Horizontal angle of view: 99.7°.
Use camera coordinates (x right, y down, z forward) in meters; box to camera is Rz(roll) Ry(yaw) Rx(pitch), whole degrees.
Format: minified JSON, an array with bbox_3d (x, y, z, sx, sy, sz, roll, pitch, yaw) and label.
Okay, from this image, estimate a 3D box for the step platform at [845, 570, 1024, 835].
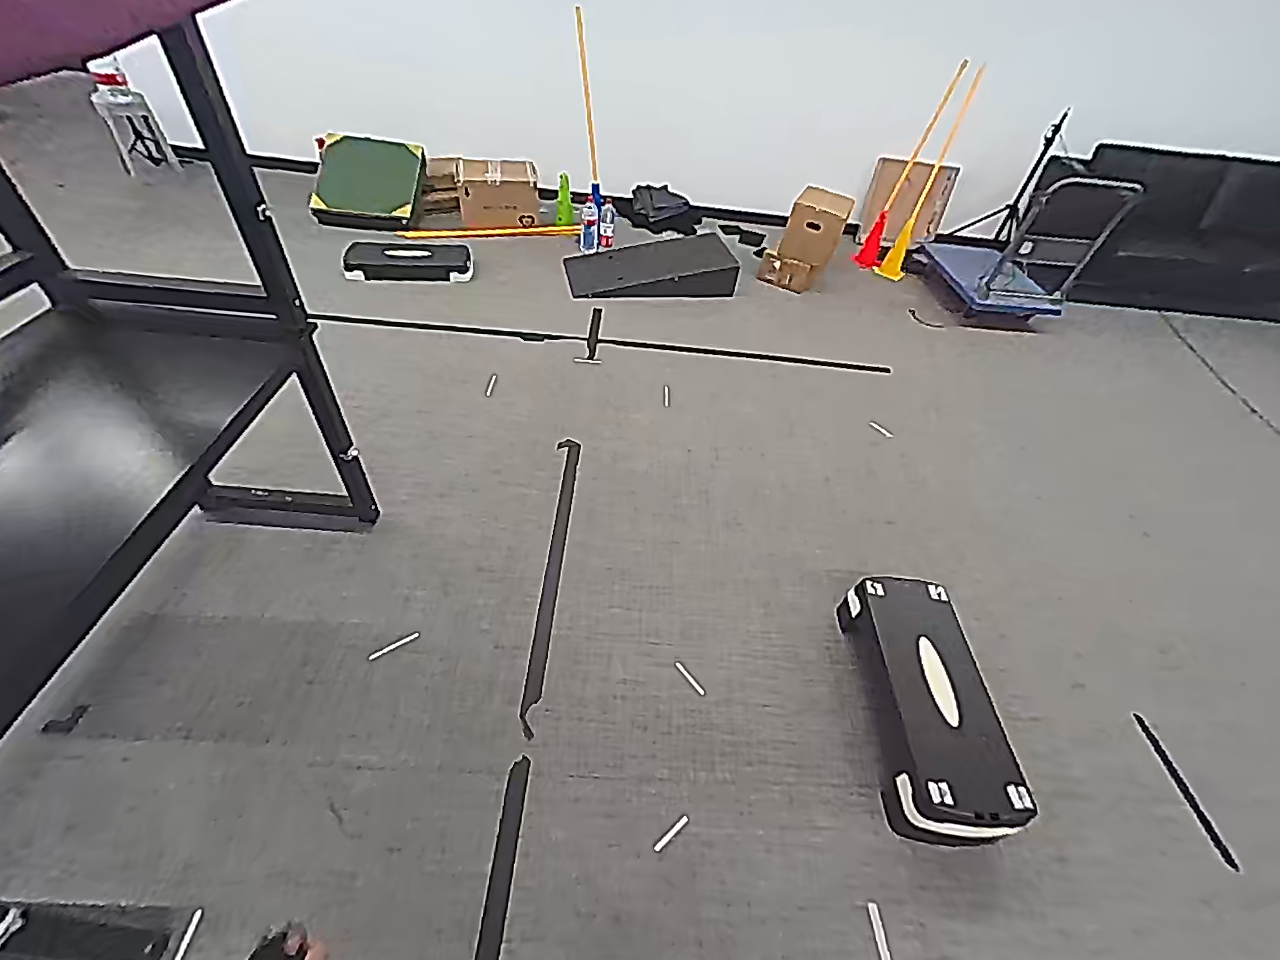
[{"bbox_3d":[0.794,0.582,1.529,0.286,0.204,0.684,9,44,1],"label":"step platform"}]
